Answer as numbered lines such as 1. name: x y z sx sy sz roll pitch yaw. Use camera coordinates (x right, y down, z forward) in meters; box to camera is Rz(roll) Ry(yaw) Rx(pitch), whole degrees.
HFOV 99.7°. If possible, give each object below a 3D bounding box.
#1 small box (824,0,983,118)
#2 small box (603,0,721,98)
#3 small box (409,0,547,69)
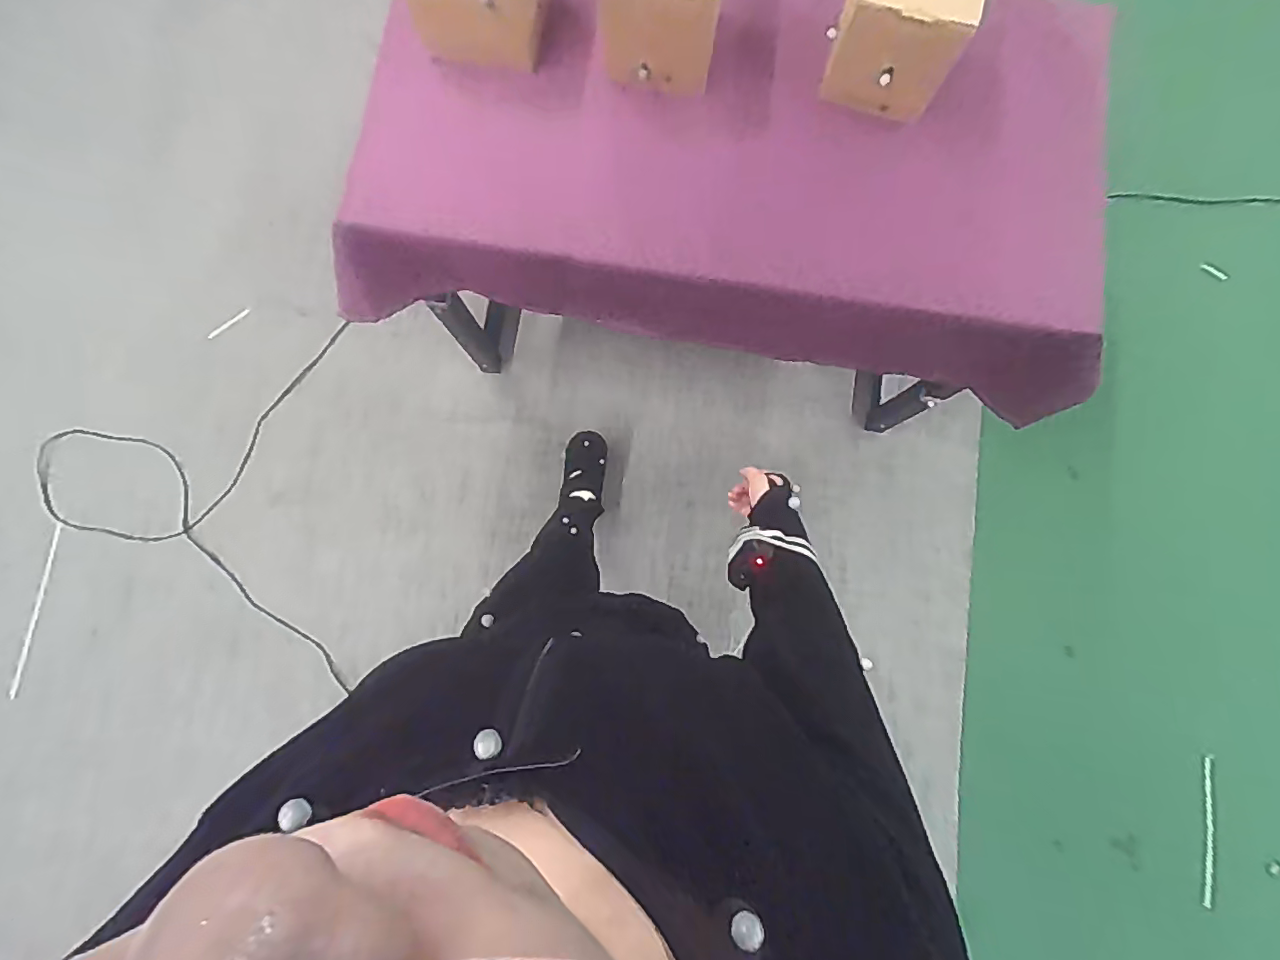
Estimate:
1. small box: 0.393 -0.693 0.810 0.168 0.176 0.179 16 83 2
2. small box: 0.039 -0.734 0.818 0.168 0.176 0.179 10 83 2
3. small box: -0.246 -0.773 0.820 0.179 0.176 0.168 10 82 1
